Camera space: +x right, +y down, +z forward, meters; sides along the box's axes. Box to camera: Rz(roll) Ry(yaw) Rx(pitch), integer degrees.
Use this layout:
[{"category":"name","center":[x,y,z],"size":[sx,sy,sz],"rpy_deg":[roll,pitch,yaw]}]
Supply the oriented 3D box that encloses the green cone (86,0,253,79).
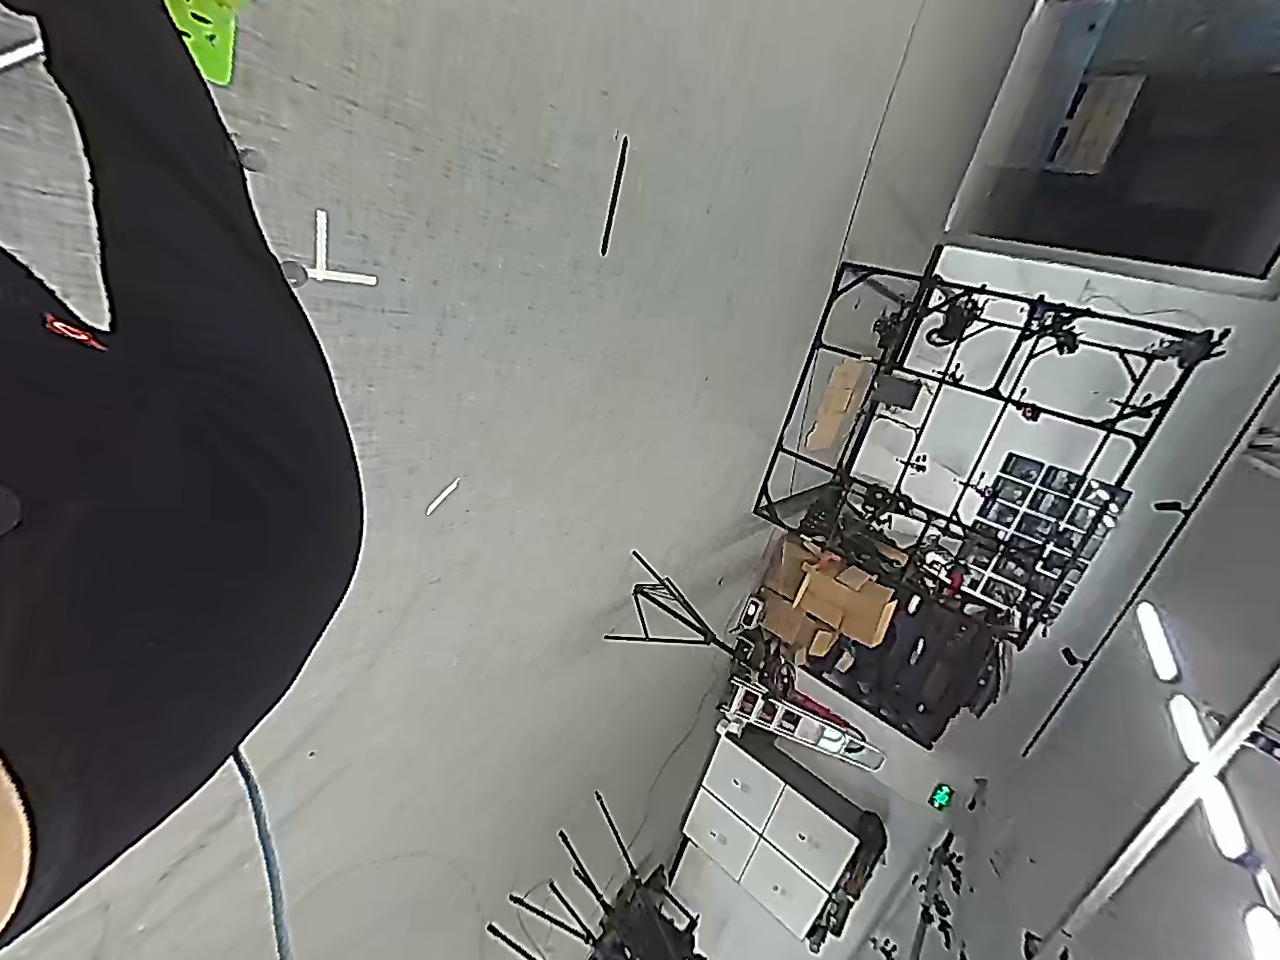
[{"category":"green cone","center":[-0.713,-0.798,0.875],"size":[0.202,0.368,0.200],"rpy_deg":[-7,119,-55]}]
